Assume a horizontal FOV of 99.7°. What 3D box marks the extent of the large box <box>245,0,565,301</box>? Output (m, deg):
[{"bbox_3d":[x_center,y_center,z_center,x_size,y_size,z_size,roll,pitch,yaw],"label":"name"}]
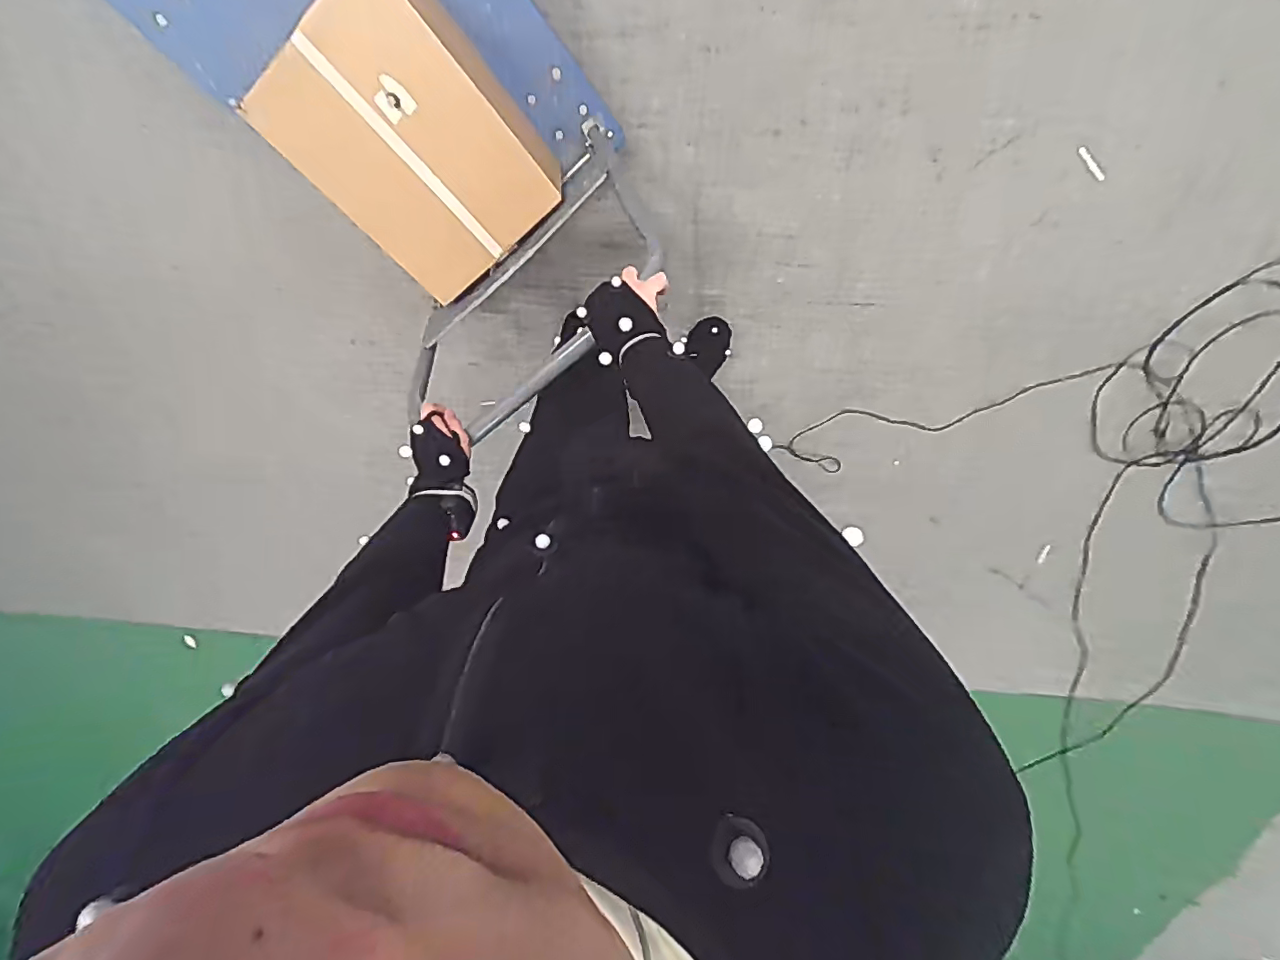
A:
[{"bbox_3d":[-0.386,-0.628,1.005,0.320,0.320,0.408,-34,126,19],"label":"large box"}]
